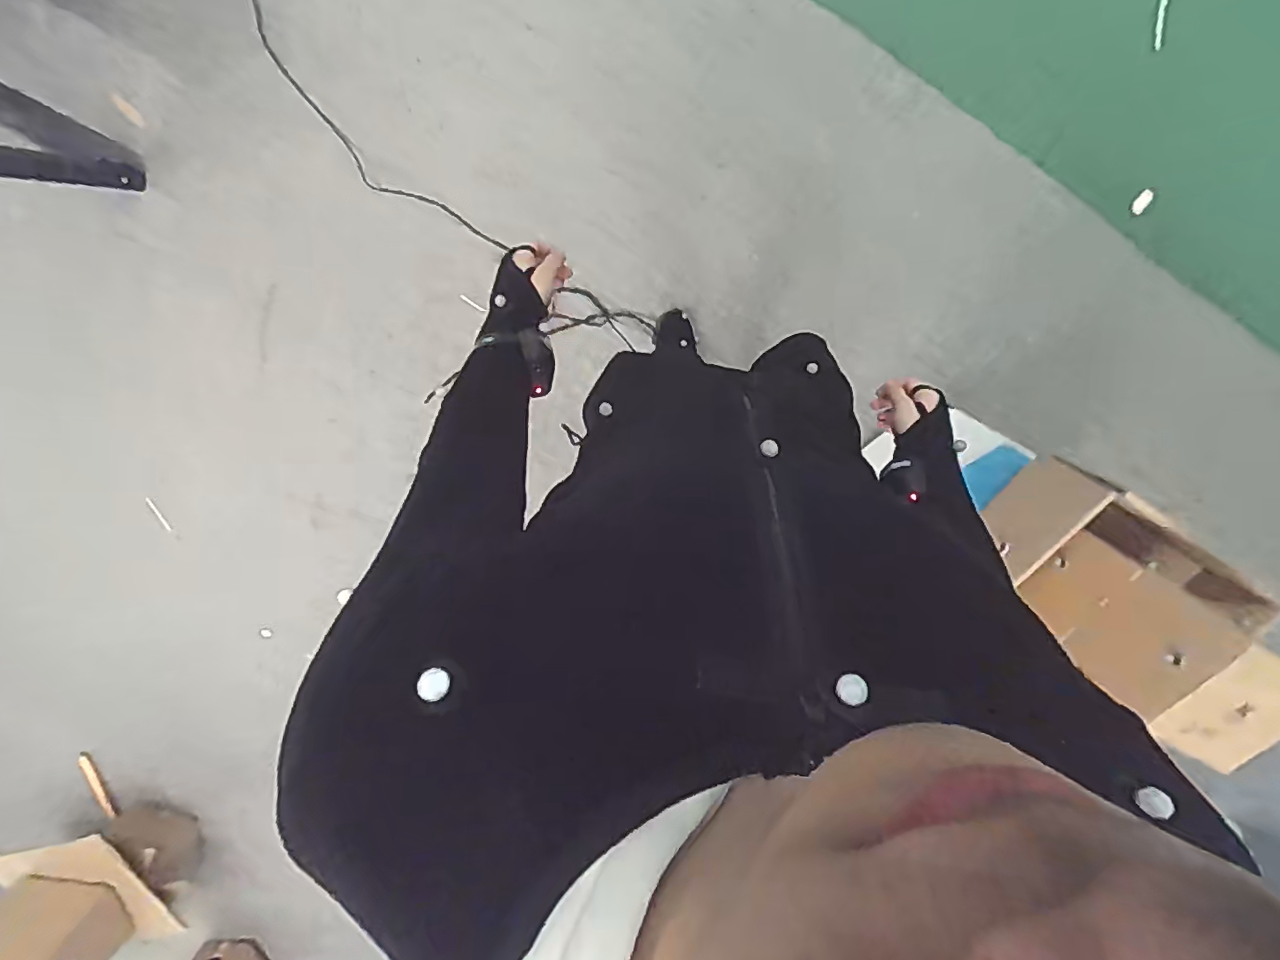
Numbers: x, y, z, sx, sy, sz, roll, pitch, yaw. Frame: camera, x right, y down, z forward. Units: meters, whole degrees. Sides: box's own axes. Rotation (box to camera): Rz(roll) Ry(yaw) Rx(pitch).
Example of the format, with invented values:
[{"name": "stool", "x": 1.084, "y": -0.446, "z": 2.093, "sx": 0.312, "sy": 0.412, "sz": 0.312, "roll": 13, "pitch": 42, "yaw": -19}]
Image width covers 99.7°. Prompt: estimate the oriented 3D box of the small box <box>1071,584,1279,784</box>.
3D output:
[{"name": "small box", "x": 0.789, "y": 0.283, "z": 0.775, "sx": 0.168, "sy": 0.176, "sz": 0.179, "roll": 29, "pitch": 113, "yaw": -8}]
